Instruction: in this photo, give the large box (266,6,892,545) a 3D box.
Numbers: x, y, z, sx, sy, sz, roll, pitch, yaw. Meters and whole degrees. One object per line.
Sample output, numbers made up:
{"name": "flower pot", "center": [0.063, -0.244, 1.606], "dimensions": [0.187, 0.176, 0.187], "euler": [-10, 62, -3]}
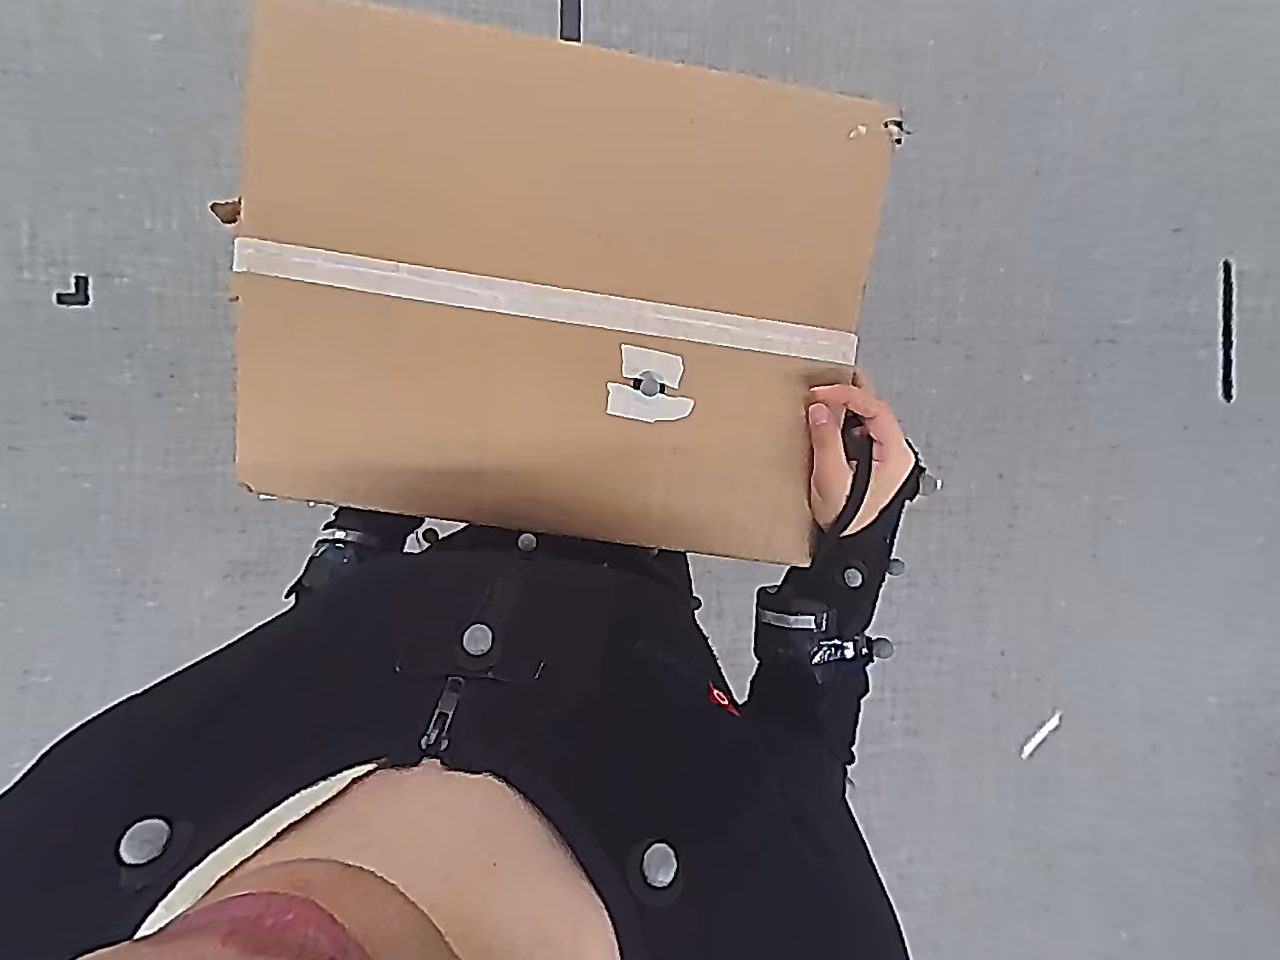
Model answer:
{"name": "large box", "center": [-0.055, -0.144, 0.515], "dimensions": [0.408, 0.320, 0.320], "euler": [7, 99, -5]}
